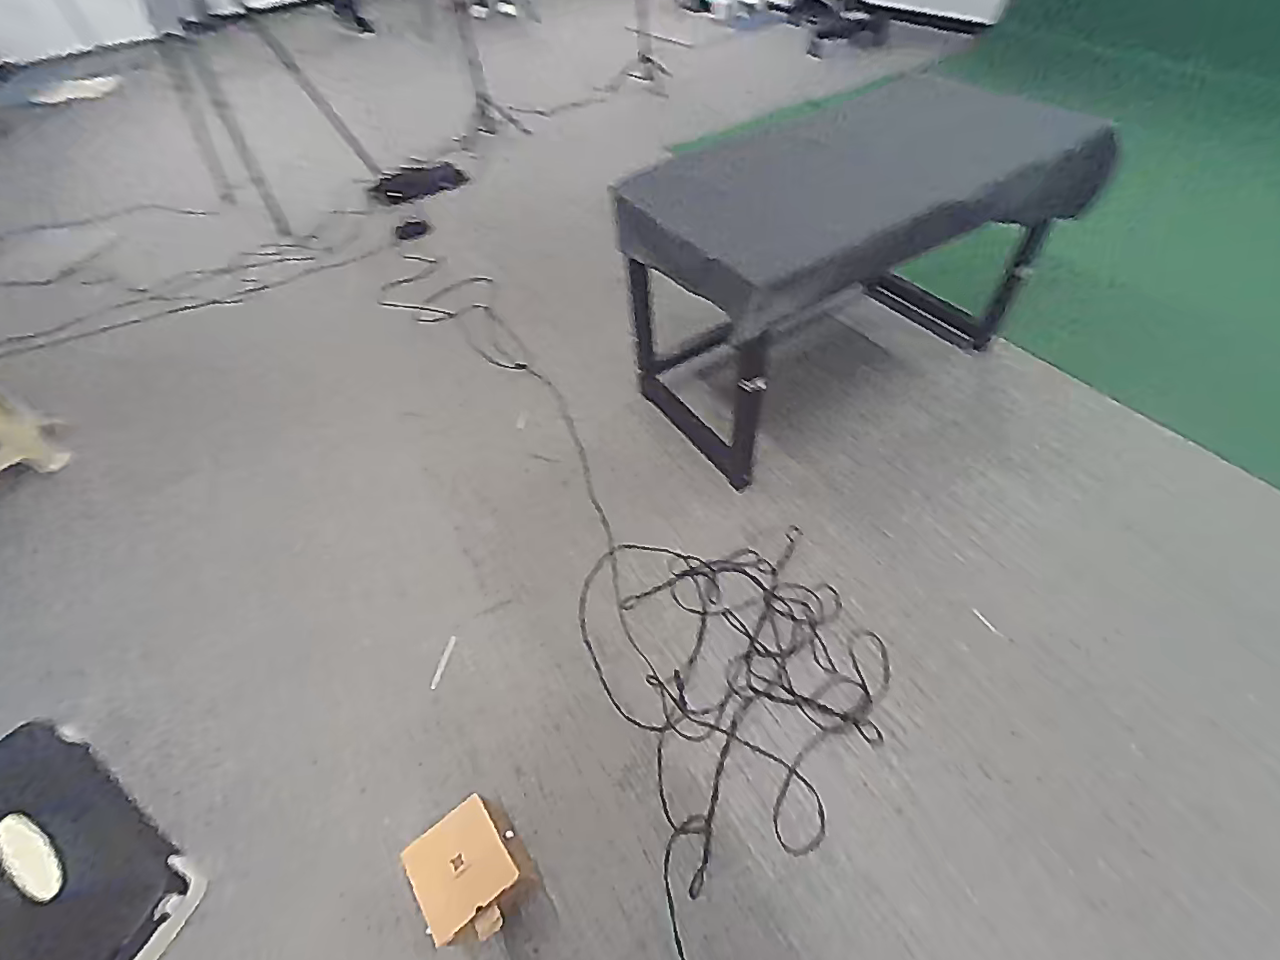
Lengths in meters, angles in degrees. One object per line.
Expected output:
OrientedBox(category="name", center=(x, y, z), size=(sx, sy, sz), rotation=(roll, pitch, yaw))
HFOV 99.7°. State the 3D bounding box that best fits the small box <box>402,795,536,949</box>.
OrientedBox(category="small box", center=(-0.326, 0.760, 1.050), size=(0.168, 0.176, 0.179), rotation=(-33, 57, -21))
